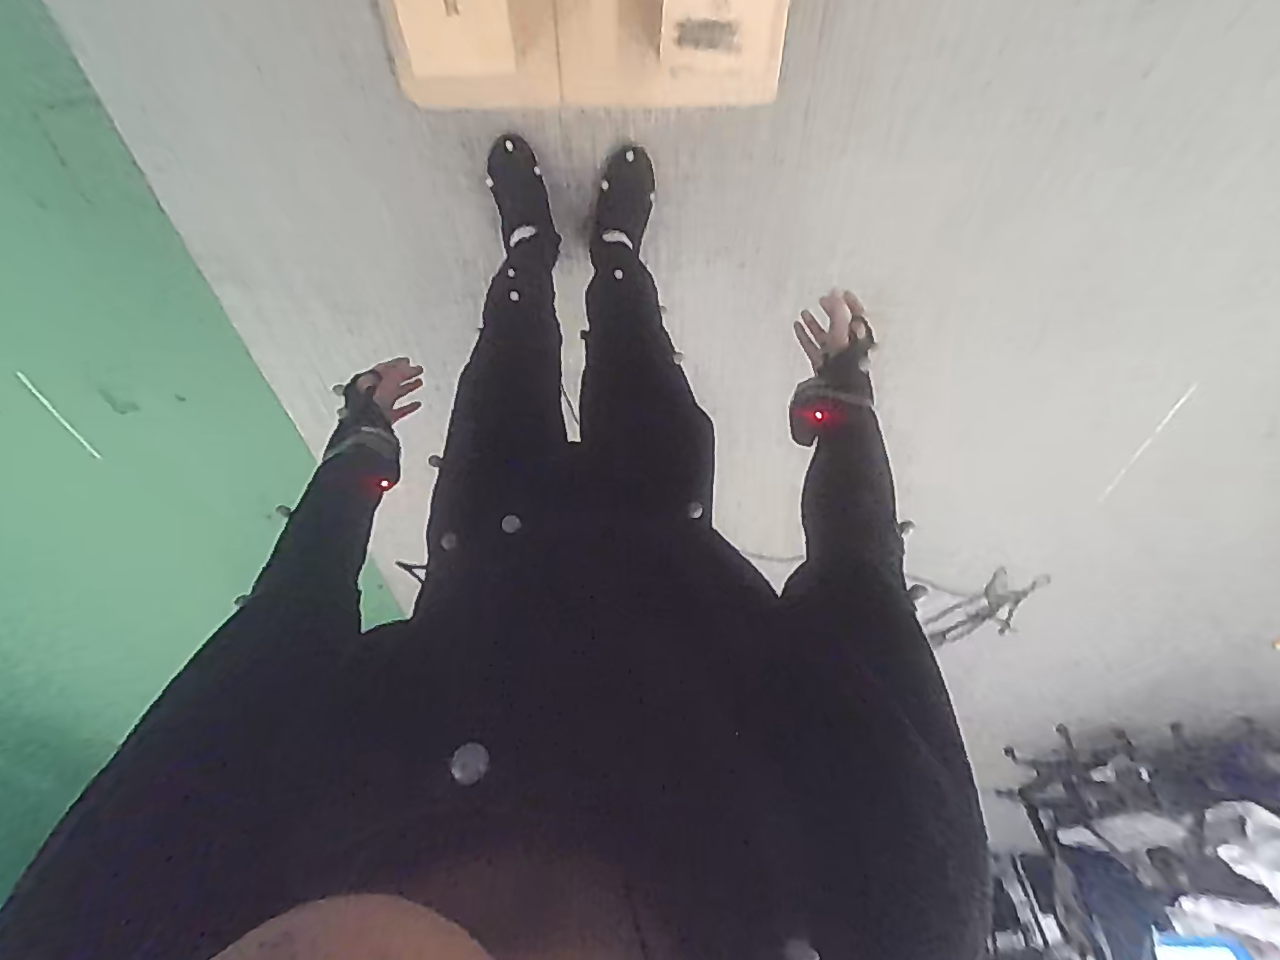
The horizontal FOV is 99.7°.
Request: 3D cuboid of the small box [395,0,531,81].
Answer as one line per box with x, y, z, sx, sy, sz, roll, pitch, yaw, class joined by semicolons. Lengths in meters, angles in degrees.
-0.274;-0.748;0.847;0.168;0.176;0.179;-2;133;1;small box
